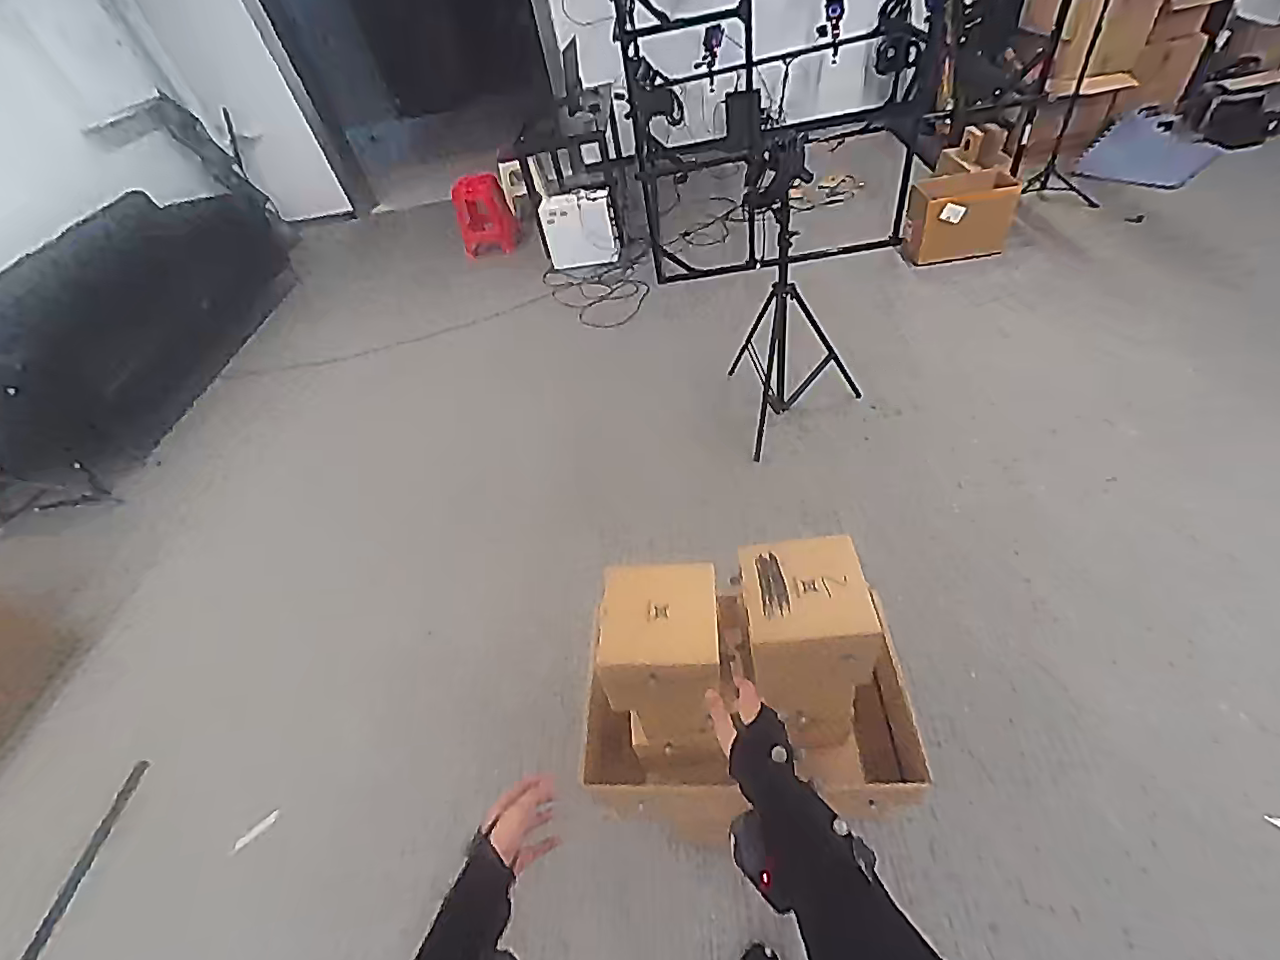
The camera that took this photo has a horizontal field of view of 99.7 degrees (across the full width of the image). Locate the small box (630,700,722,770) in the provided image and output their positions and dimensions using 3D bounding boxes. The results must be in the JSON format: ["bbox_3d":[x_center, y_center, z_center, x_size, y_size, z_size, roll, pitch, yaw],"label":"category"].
[{"bbox_3d":[0.071,0.465,1.100,0.168,0.176,0.179,-9,46,4],"label":"small box"}]

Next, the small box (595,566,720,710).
[{"bbox_3d":[0.036,0.252,0.858,0.179,0.176,0.168,-3,47,7],"label":"small box"}]
